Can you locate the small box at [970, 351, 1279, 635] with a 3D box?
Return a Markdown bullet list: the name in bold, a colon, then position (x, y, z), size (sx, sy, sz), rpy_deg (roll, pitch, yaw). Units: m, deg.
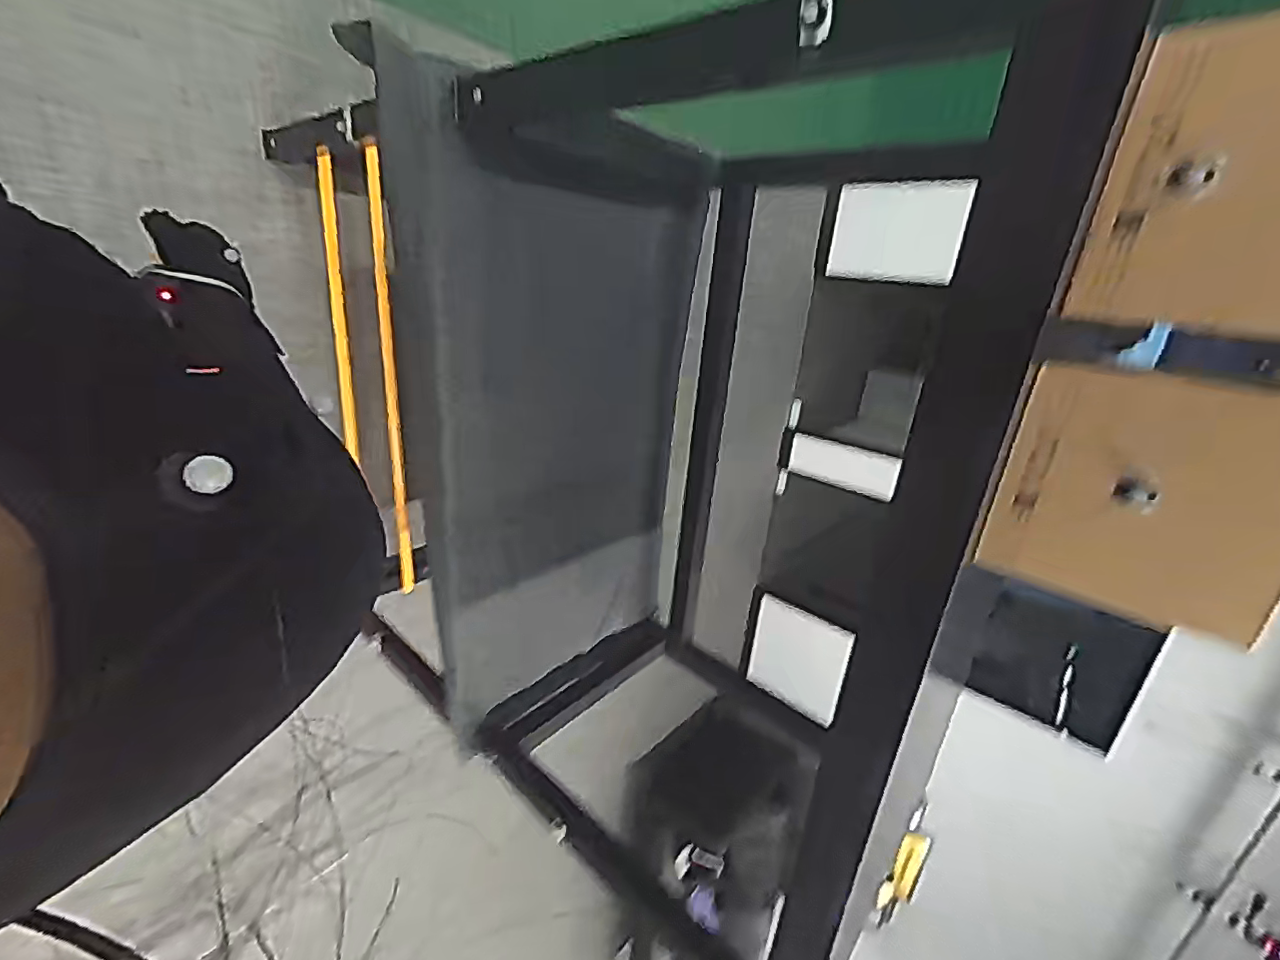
- **small box**: position (0.396, -0.009, 0.444), size (0.179, 0.176, 0.168), rpy_deg (-17, 120, -47)
